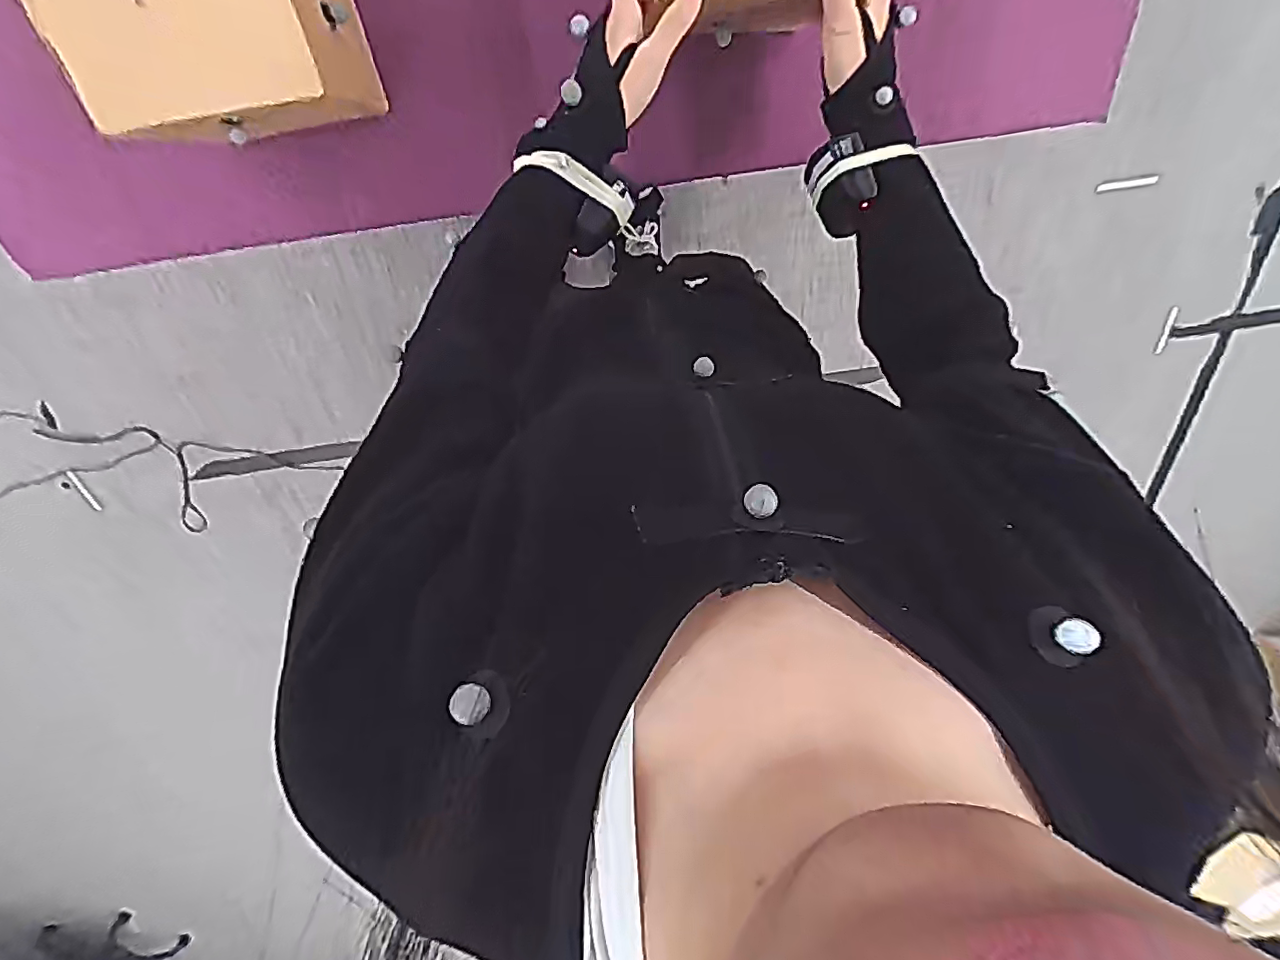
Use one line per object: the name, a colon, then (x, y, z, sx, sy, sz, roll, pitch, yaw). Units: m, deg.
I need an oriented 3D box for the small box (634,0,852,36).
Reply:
small box: (0.081, -0.475, 0.423, 0.168, 0.176, 0.179, -4, 122, -4)

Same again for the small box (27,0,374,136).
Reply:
small box: (-0.339, -0.385, 0.433, 0.179, 0.176, 0.168, -10, 122, 0)
